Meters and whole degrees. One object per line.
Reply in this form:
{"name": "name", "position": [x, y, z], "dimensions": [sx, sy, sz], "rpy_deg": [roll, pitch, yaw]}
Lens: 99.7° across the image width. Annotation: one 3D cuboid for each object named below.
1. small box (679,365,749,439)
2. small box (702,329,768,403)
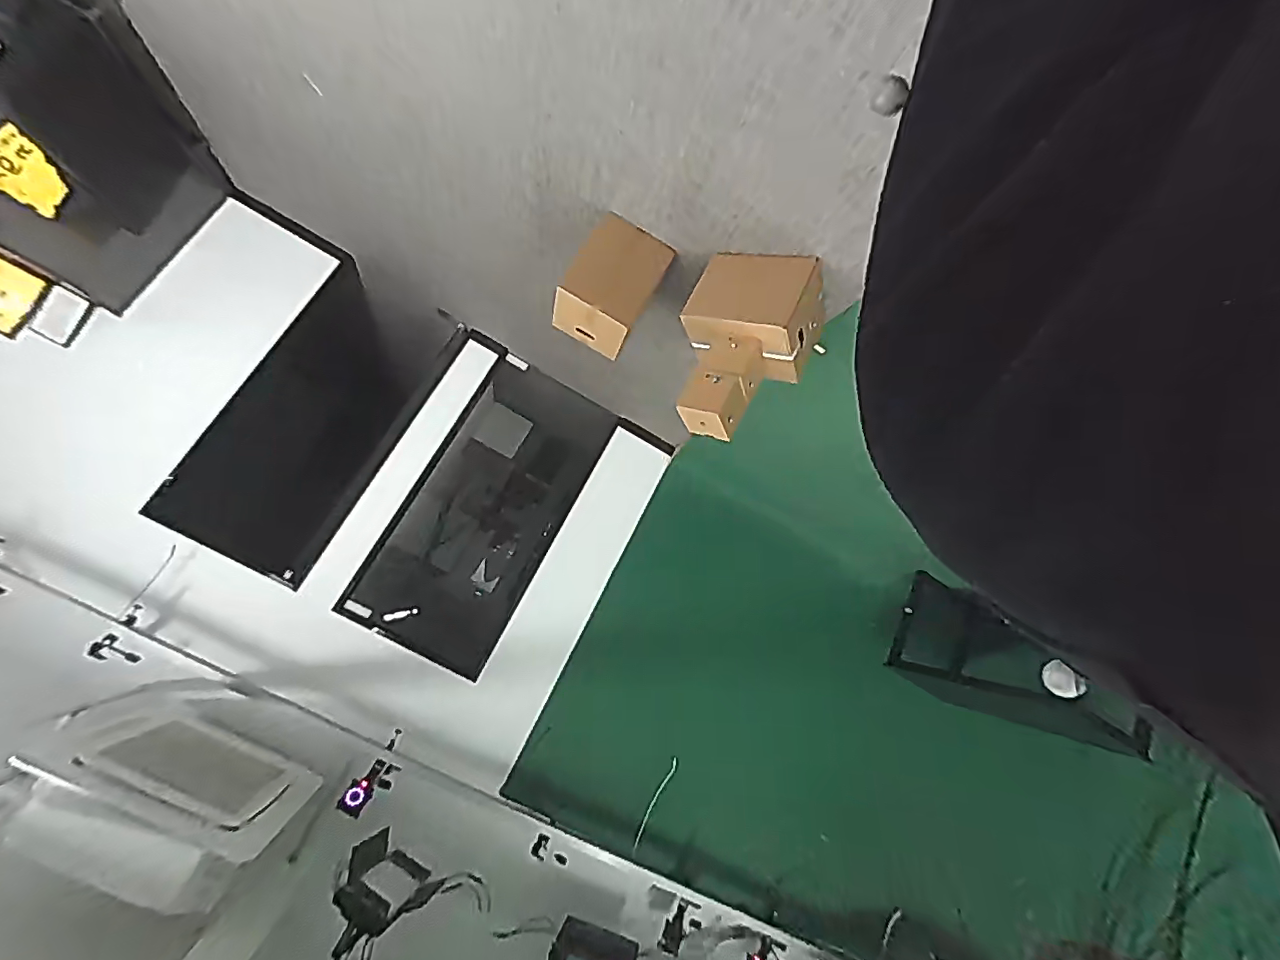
{"name": "small box", "position": [0.265, -0.272, 1.880], "dimensions": [0.168, 0.176, 0.179], "rpy_deg": [17, 161, 30]}
{"name": "small box", "position": [0.344, -0.407, 1.928], "dimensions": [0.168, 0.176, 0.179], "rpy_deg": [19, 161, 28]}
